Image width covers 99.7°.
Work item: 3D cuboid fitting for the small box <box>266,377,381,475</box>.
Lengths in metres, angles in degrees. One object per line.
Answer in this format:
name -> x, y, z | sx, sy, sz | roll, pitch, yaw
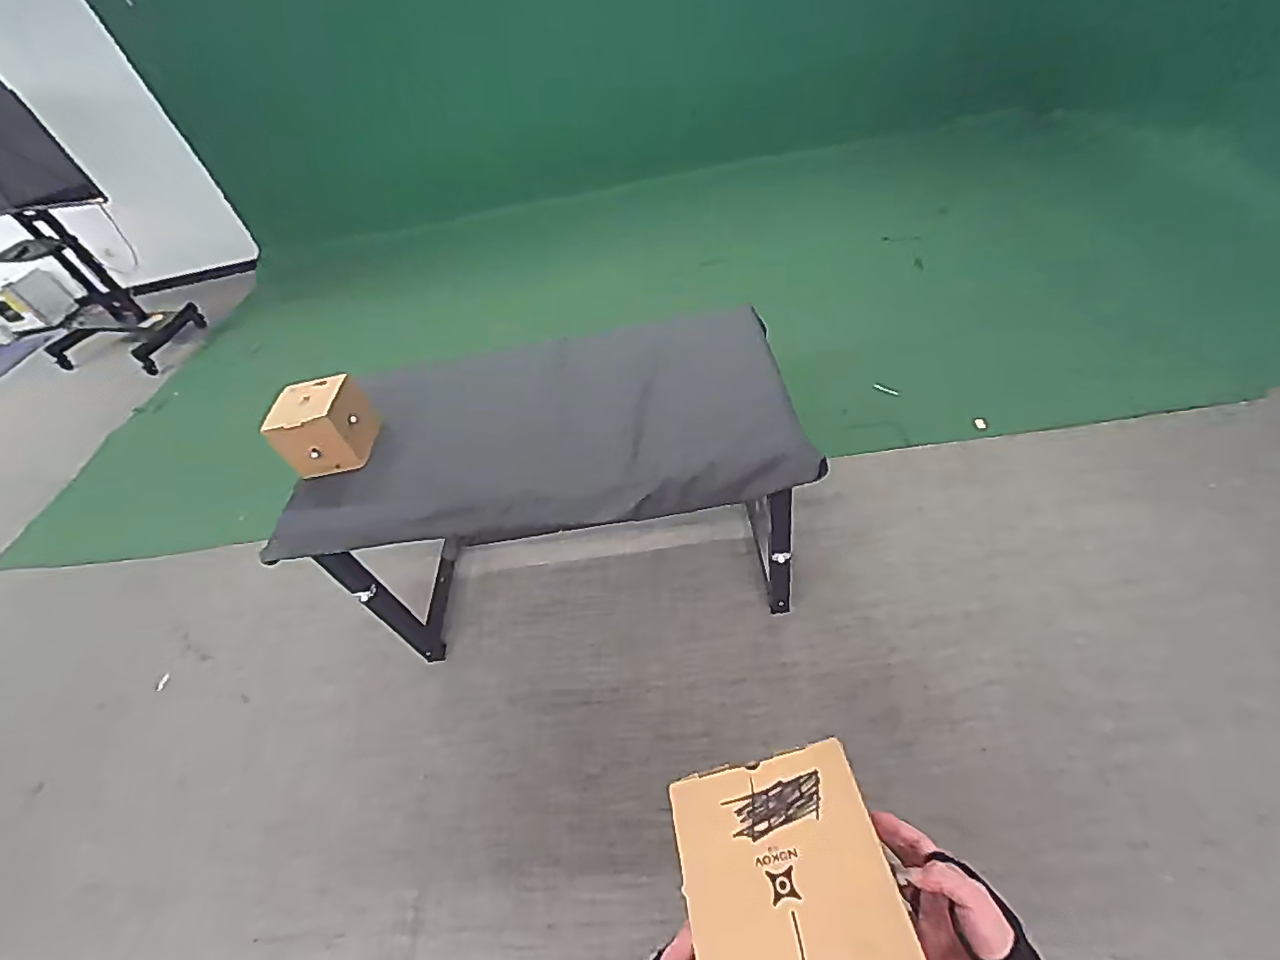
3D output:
small box -> -0.779, -0.128, 1.356 | 0.168, 0.176, 0.179 | -10, 47, 3
